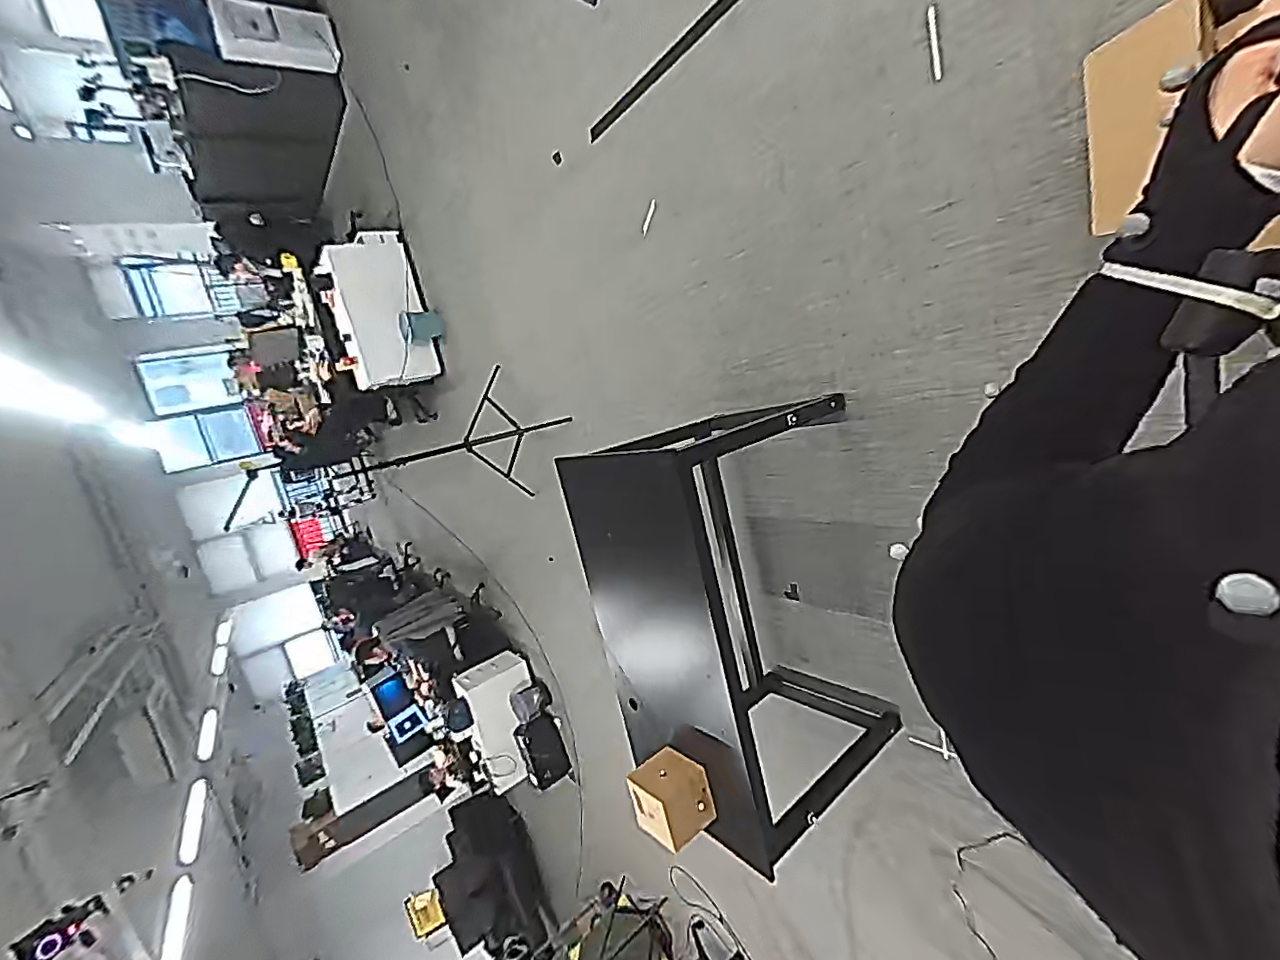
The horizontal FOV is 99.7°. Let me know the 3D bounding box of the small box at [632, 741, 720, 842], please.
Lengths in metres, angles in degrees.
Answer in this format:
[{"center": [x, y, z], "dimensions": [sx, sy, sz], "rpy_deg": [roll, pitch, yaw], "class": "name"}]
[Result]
[{"center": [0.108, 0.910, 1.604], "dimensions": [0.179, 0.176, 0.168], "rpy_deg": [-4, 104, 54], "class": "small box"}]
